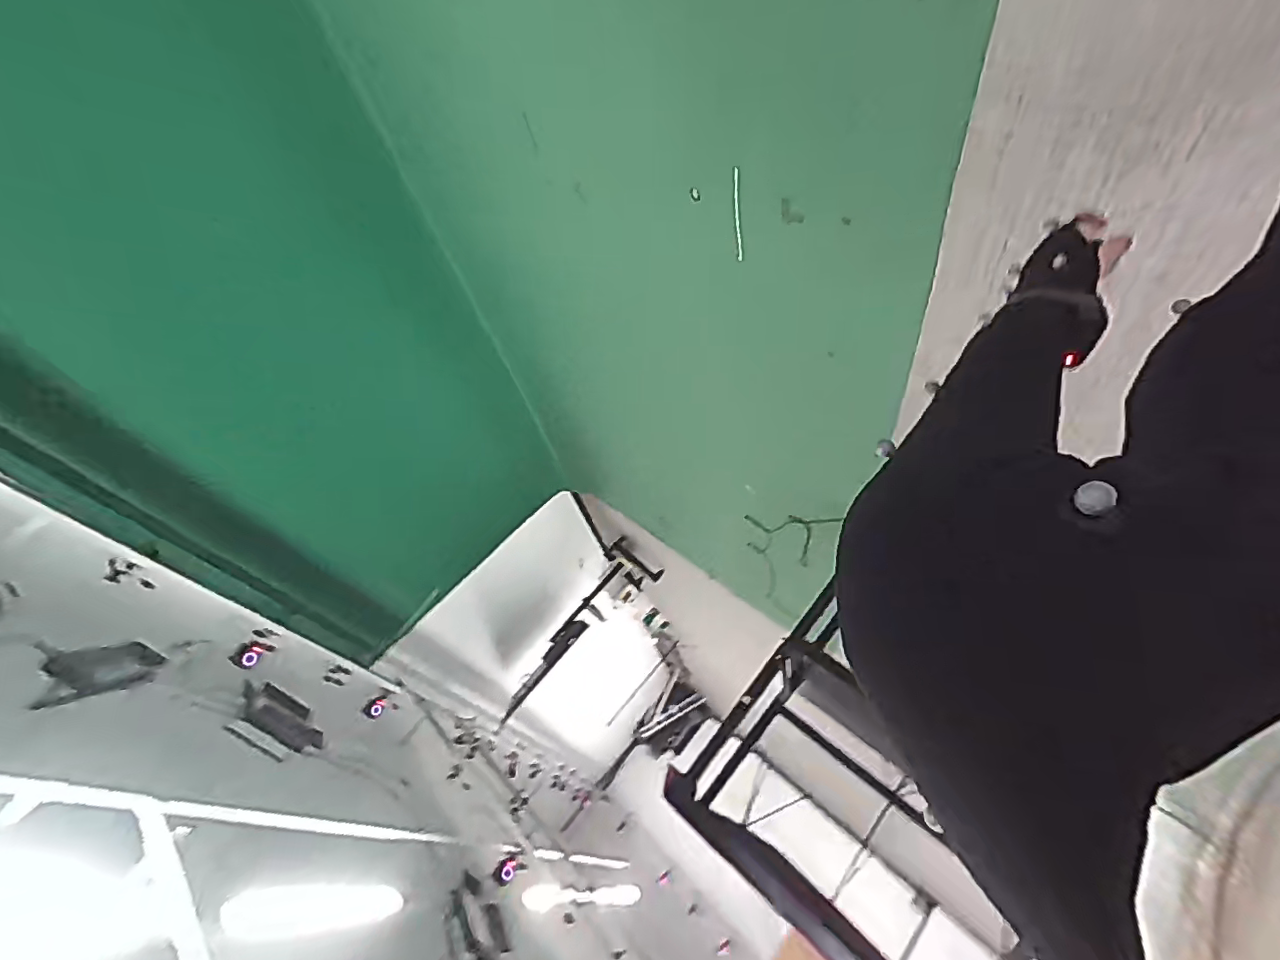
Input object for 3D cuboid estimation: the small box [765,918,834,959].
[{"bbox_3d":[0.511,1.539,1.715,0.168,0.176,0.179,32,158,30],"label":"small box"}]
